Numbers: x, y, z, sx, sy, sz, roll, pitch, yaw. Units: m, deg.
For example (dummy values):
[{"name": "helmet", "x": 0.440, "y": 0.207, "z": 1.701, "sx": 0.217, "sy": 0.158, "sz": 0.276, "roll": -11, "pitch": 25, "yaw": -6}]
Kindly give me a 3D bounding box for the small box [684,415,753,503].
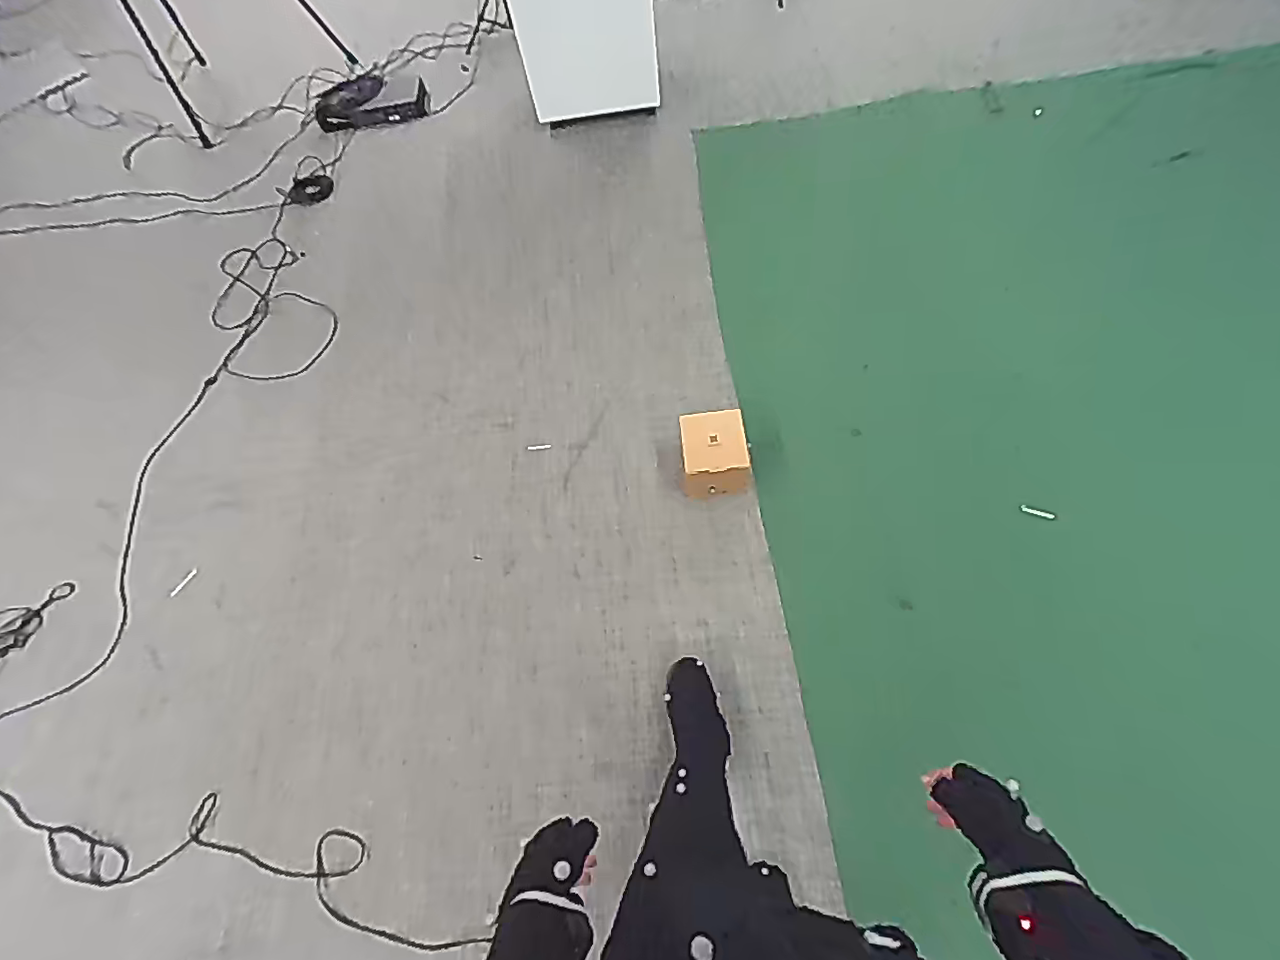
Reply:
[{"name": "small box", "x": 0.210, "y": -0.054, "z": 1.482, "sx": 0.168, "sy": 0.176, "sz": 0.179, "roll": -6, "pitch": 64, "yaw": 4}]
